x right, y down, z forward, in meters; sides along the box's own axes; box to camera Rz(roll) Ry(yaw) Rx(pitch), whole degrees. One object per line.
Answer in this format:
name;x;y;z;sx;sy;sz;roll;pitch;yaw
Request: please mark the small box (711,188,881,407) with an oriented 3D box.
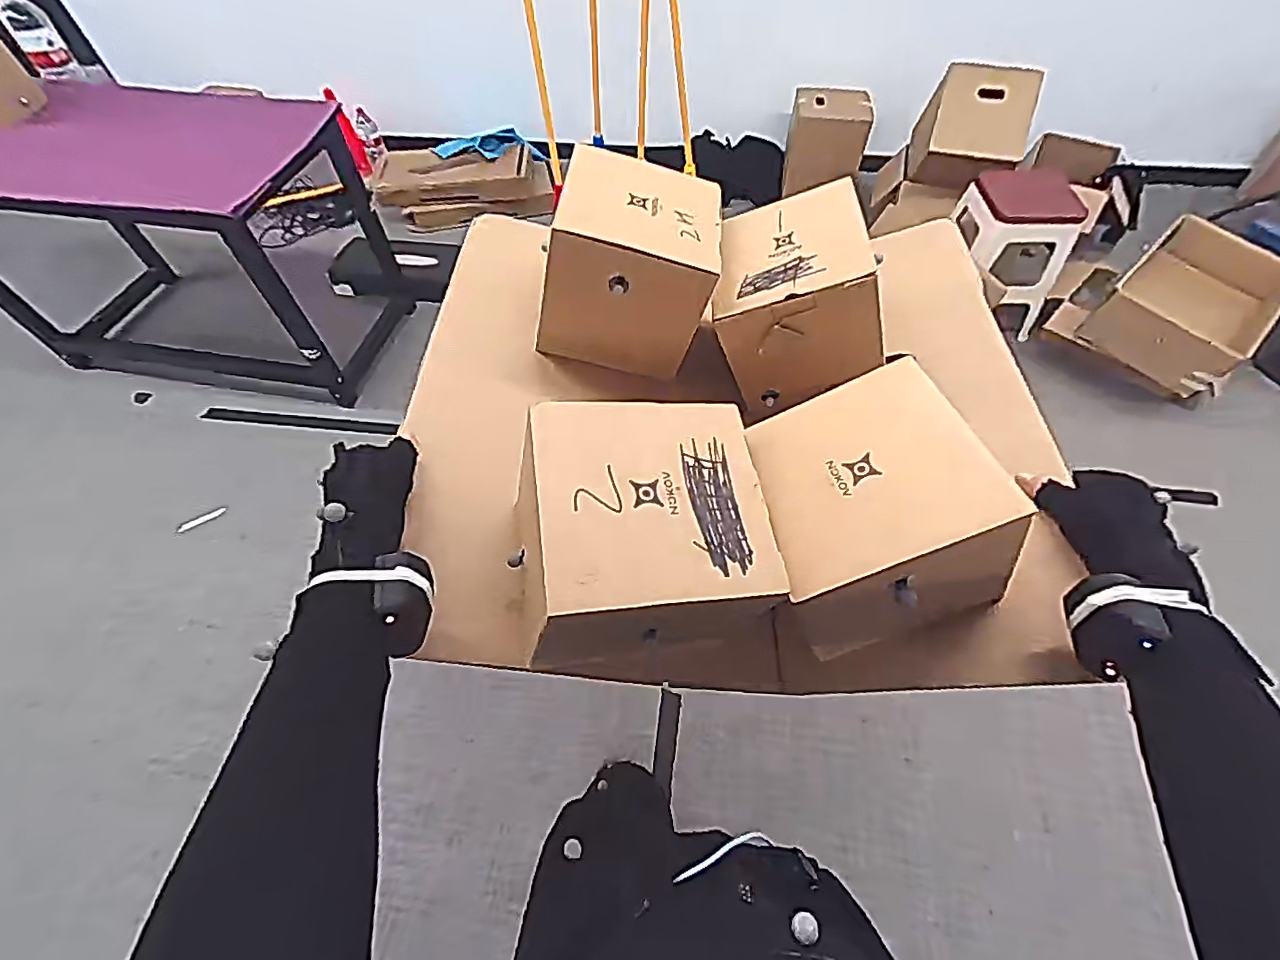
small box;0.190;-0.208;0.662;0.168;0.176;0.179;-10;53;22
